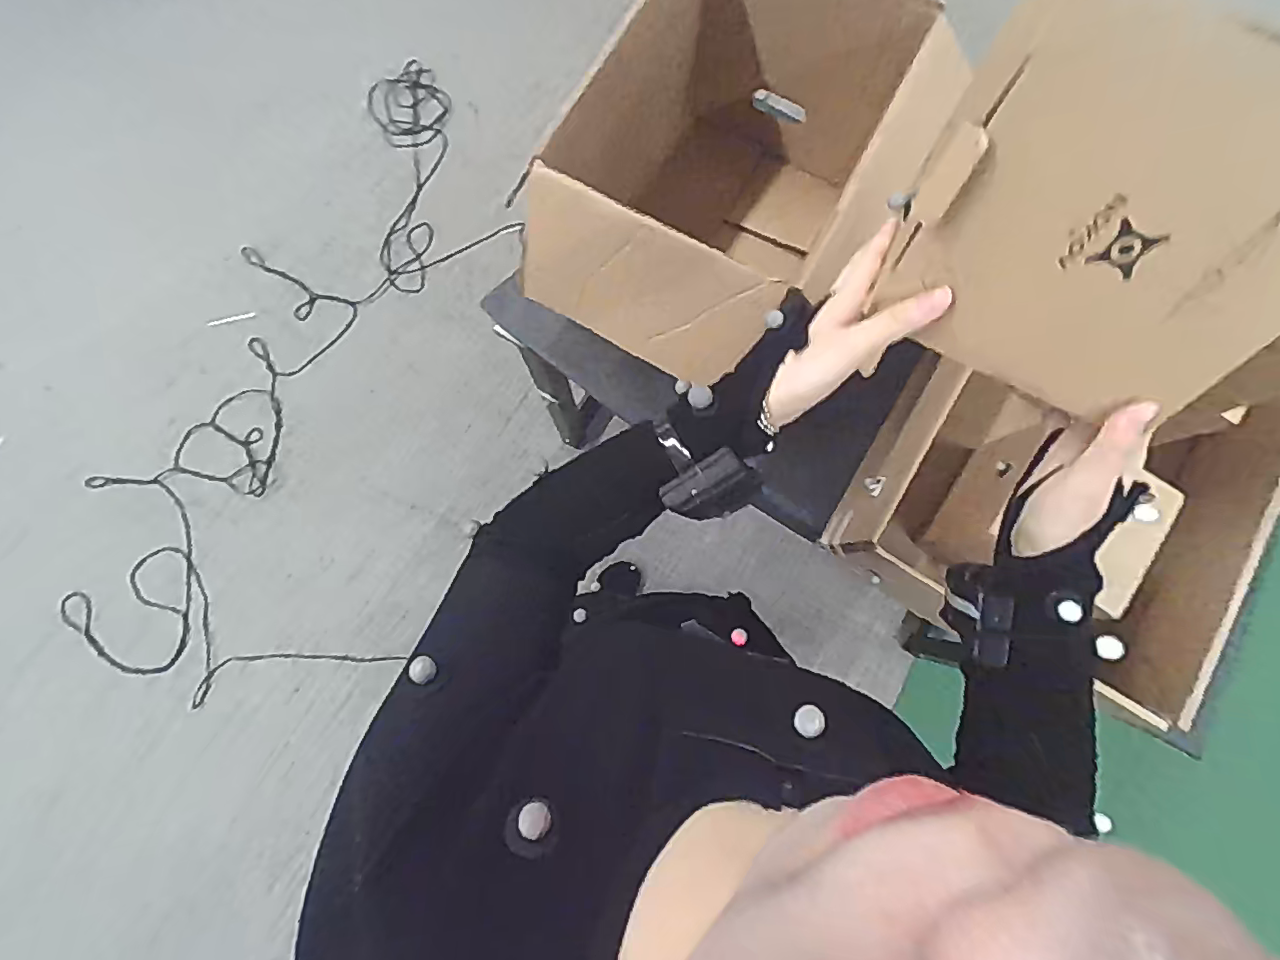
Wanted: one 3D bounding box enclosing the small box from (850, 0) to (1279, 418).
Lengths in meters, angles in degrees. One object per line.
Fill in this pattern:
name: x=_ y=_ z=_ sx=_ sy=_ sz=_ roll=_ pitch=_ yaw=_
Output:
small box: x=0.256 y=-0.175 z=0.325 sx=0.179 sy=0.168 sz=0.176 roll=26 pitch=48 yaw=4
